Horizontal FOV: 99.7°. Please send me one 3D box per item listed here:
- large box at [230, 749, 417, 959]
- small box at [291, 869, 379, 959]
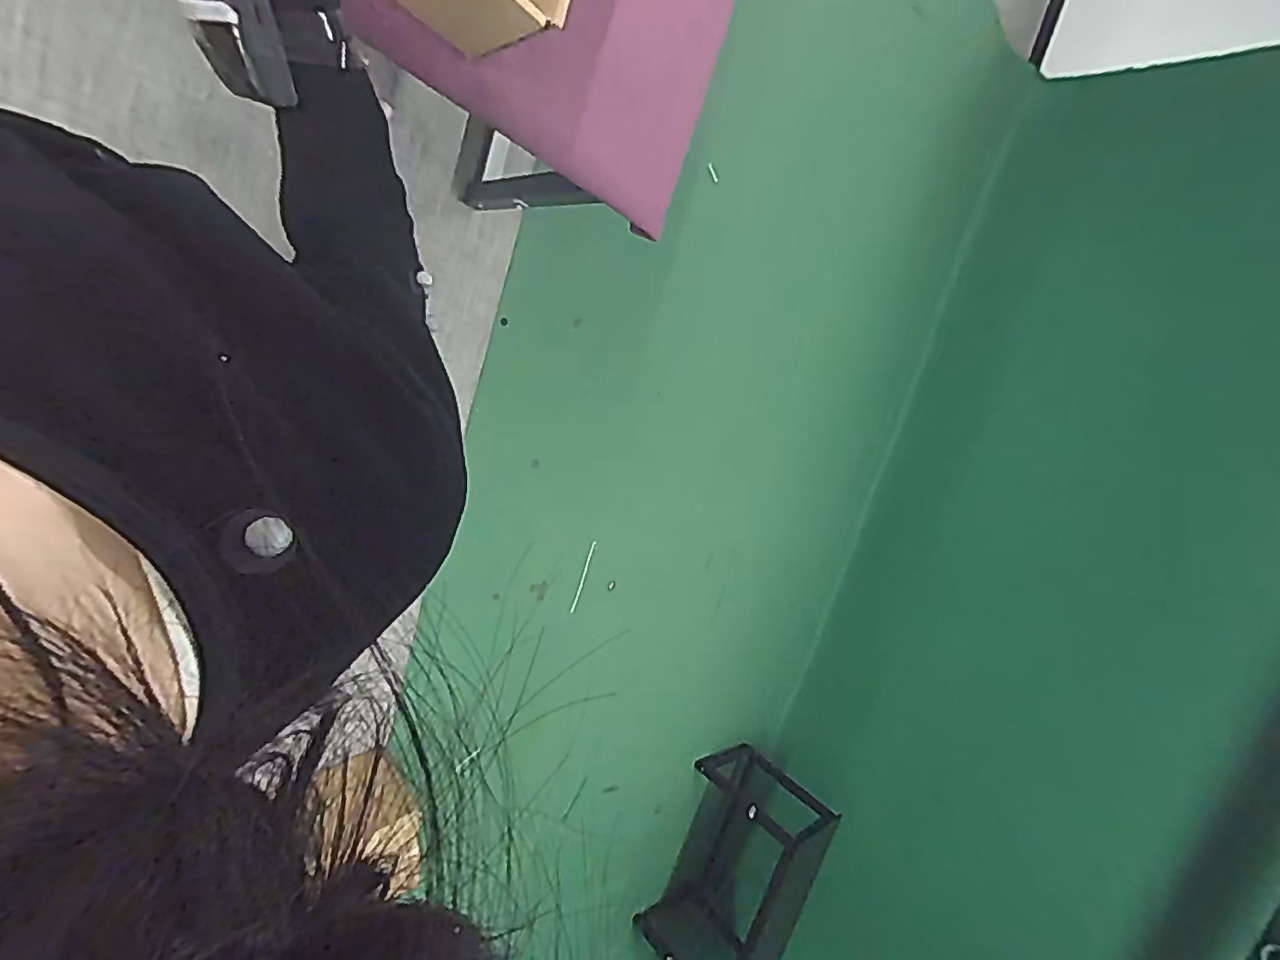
[{"bbox_3d":[-0.924,1.094,1.598,0.408,0.320,0.320,-10,116,-43],"label":"large box"},{"bbox_3d":[-0.790,1.161,1.400,0.168,0.176,0.179,-9,114,-42],"label":"small box"}]
